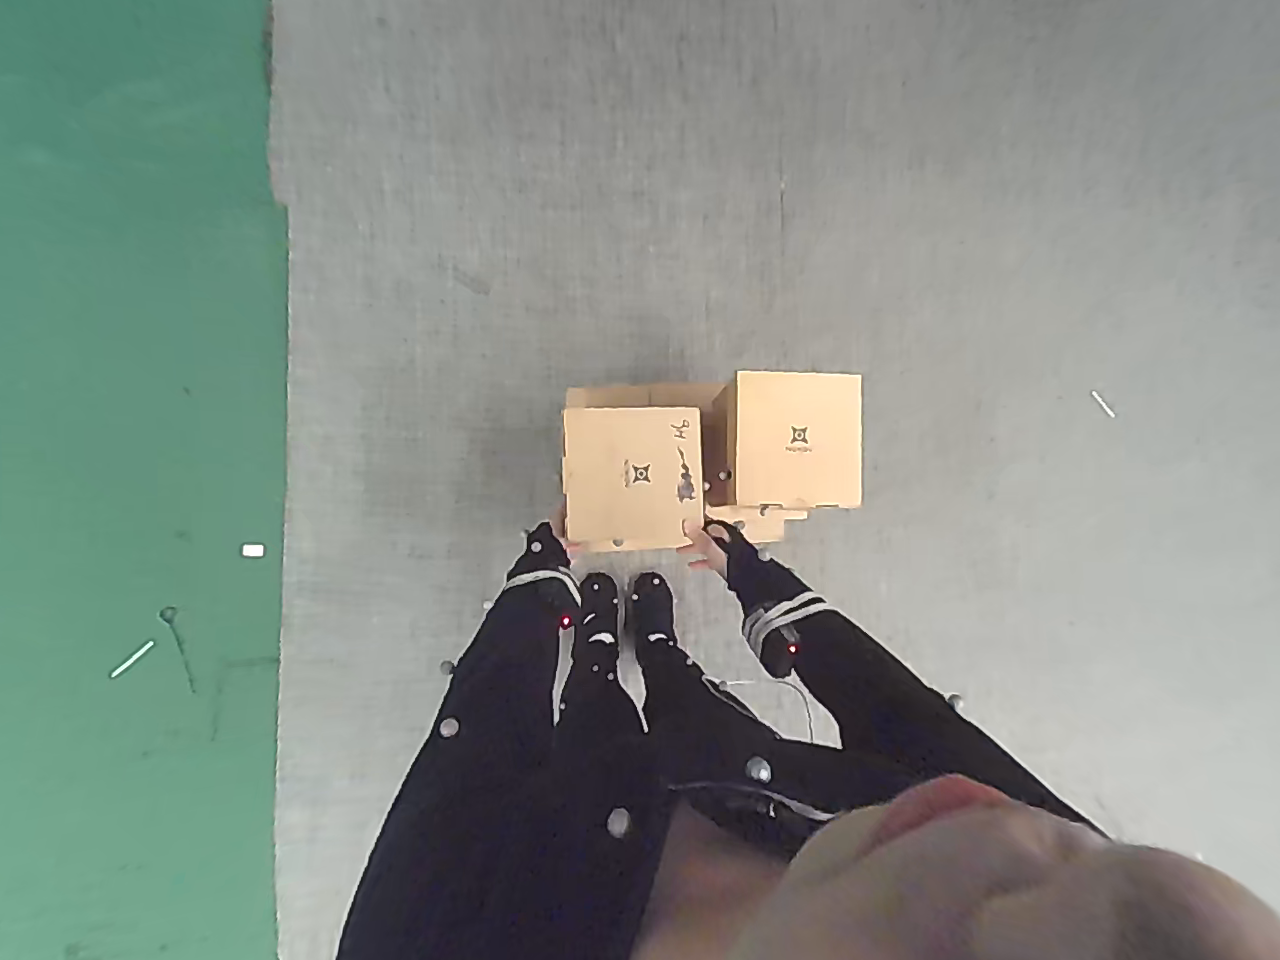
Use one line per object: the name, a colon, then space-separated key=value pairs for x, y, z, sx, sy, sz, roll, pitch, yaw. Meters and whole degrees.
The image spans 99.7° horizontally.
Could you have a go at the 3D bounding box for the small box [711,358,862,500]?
small box: x=0.200 y=-0.063 z=0.775 sx=0.168 sy=0.176 sz=0.179 roll=2 pitch=87 yaw=-4
